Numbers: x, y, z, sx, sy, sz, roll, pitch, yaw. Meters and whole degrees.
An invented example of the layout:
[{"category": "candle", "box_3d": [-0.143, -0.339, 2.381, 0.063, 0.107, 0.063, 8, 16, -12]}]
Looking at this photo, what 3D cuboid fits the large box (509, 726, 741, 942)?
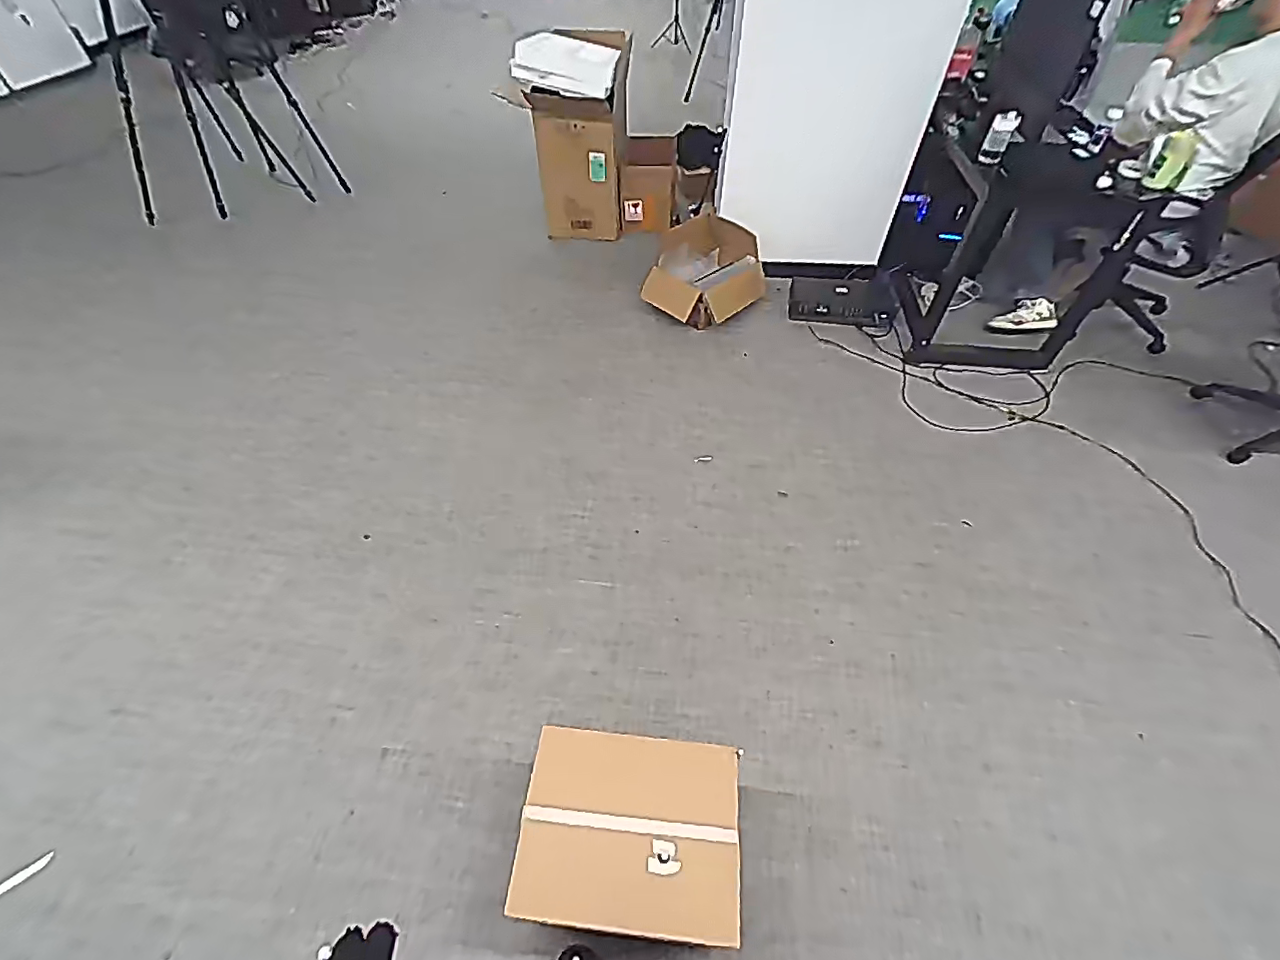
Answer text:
[{"category": "large box", "box_3d": [-0.019, 0.736, 1.121, 0.408, 0.320, 0.320, 5, 50, 3]}]
